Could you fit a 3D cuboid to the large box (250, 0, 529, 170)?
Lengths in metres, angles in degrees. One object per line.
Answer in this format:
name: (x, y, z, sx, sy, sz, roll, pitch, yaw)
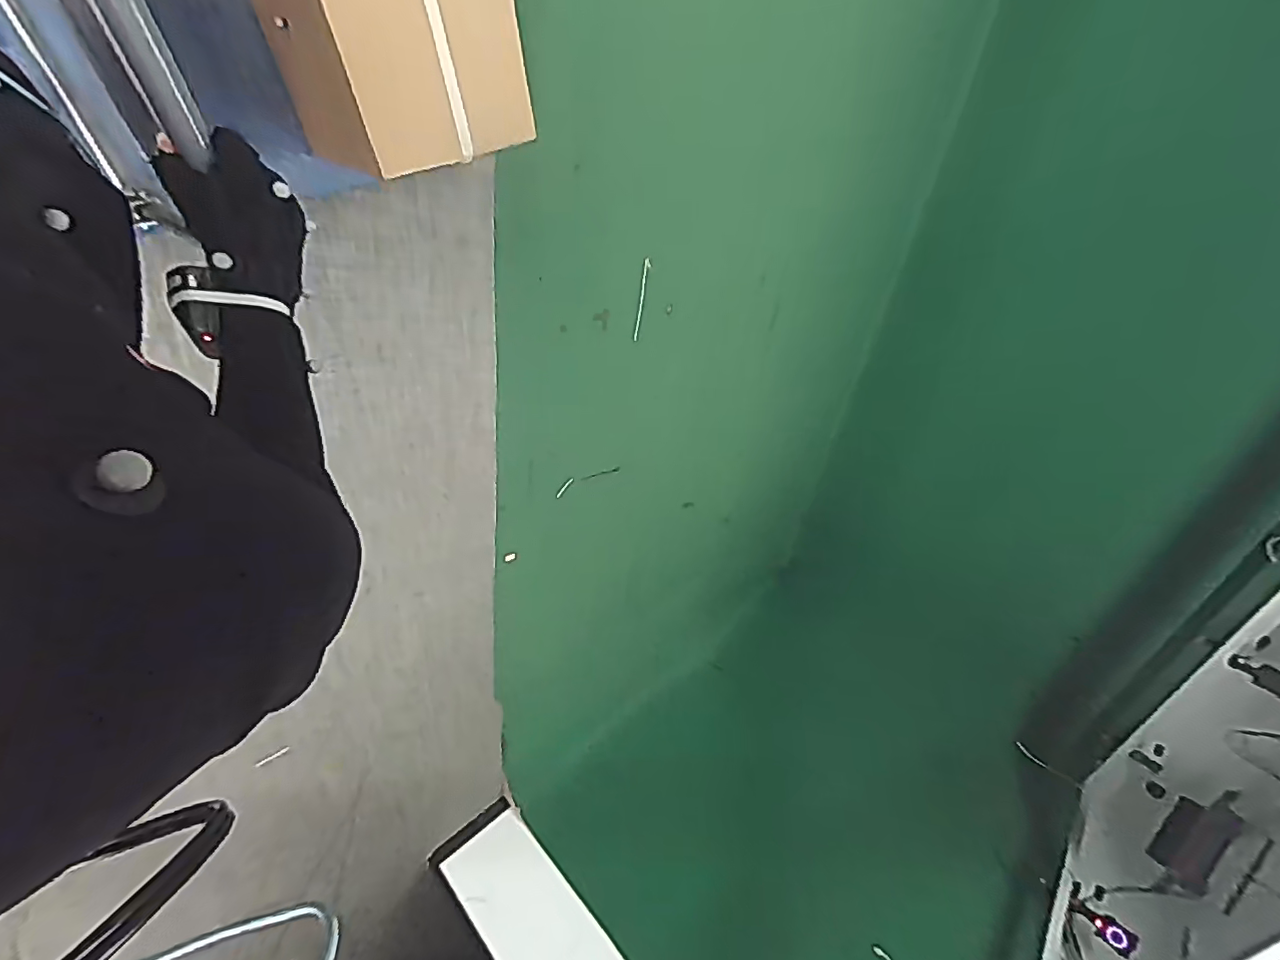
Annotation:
large box: (-0.437, -0.793, 0.901, 0.320, 0.320, 0.408, -37, 141, -29)
